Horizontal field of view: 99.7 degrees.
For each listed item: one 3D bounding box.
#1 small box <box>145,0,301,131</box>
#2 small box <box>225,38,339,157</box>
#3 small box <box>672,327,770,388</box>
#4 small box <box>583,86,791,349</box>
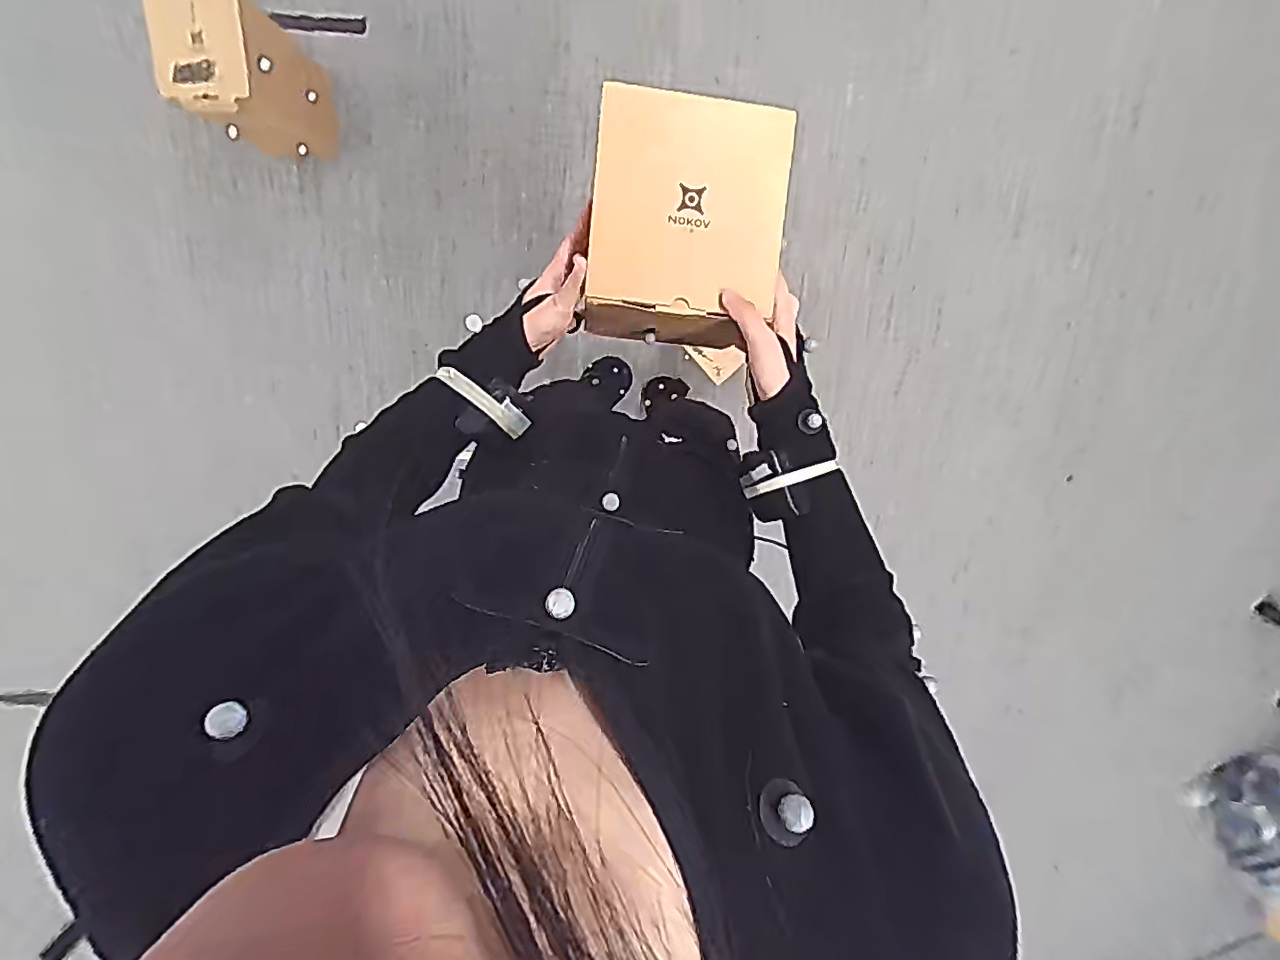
[{"bbox_3d":[-0.784,-0.796,1.038,0.168,0.176,0.179,1,104,-2],"label":"small box"},{"bbox_3d":[-0.793,-0.837,1.197,0.168,0.176,0.179,0,103,-2],"label":"small box"},{"bbox_3d":[0.187,-0.353,1.341,0.179,0.176,0.168,-41,102,8],"label":"small box"},{"bbox_3d":[0.032,-0.236,0.534,0.168,0.176,0.179,4,96,-7],"label":"small box"}]
